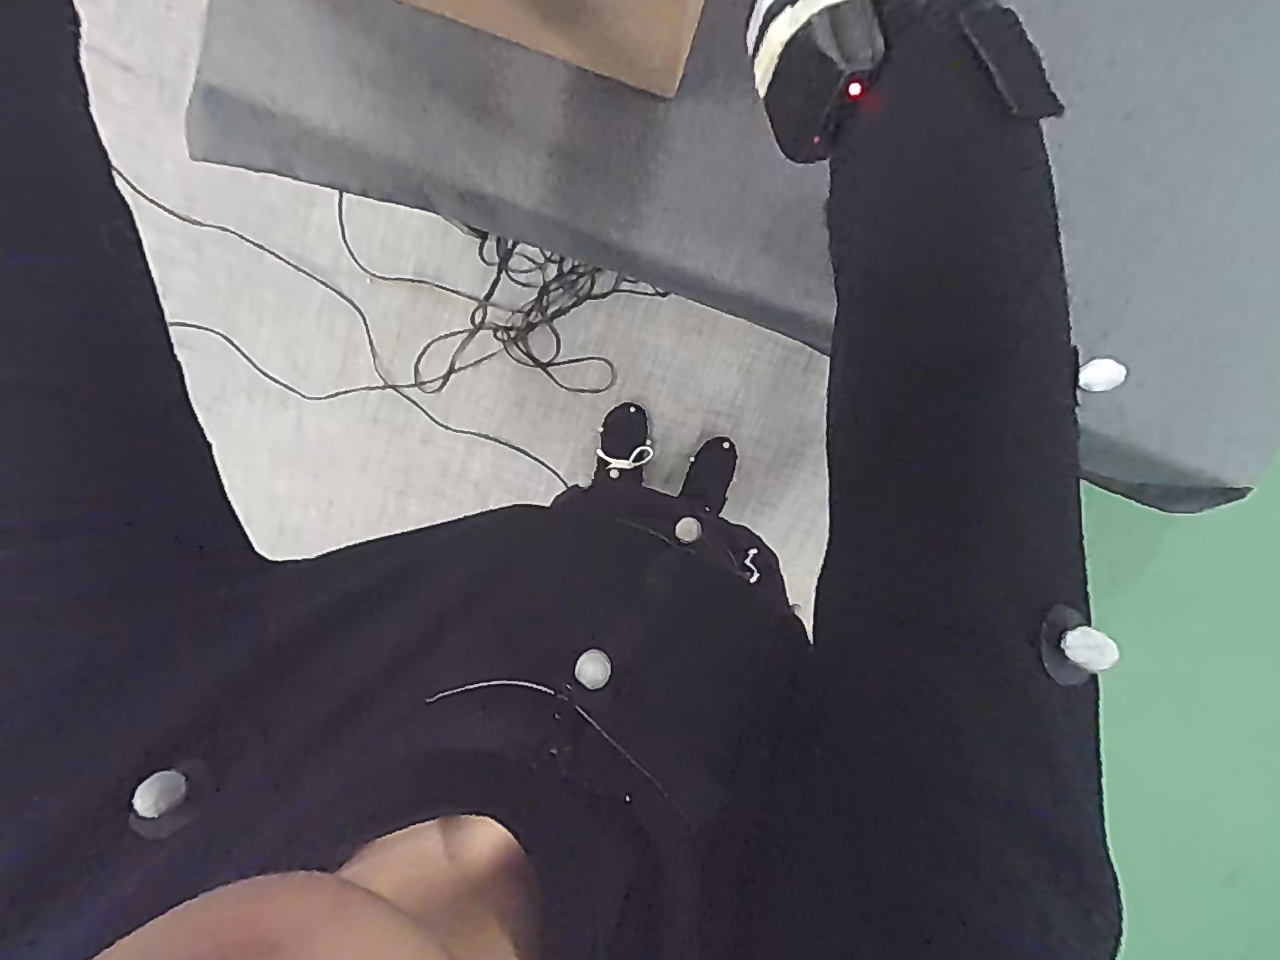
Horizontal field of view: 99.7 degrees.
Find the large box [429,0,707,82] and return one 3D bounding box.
[{"bbox_3d":[-0.104,-0.543,0.336,0.408,0.320,0.320,16,103,-6],"label":"large box"}]
